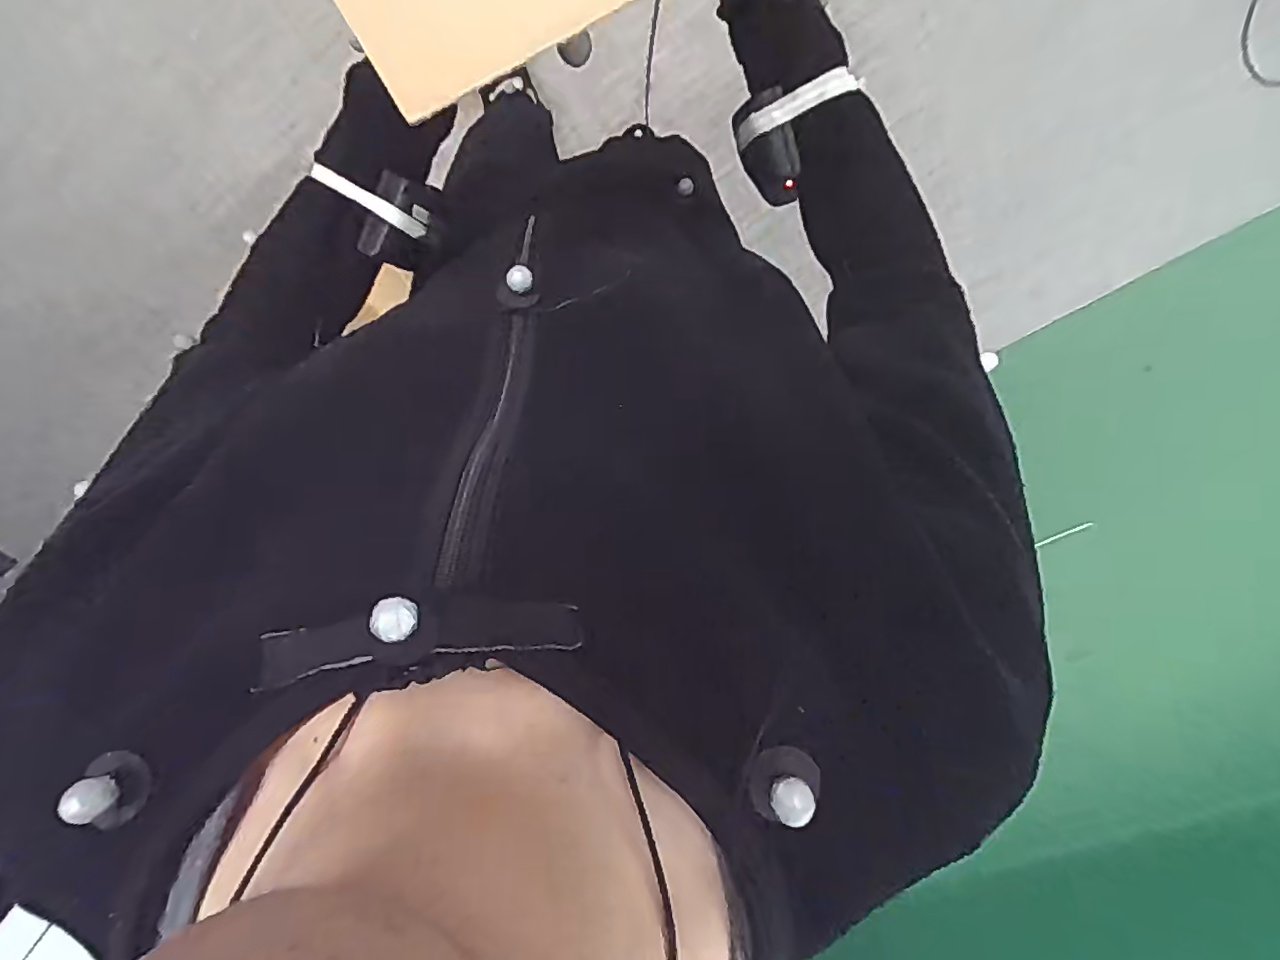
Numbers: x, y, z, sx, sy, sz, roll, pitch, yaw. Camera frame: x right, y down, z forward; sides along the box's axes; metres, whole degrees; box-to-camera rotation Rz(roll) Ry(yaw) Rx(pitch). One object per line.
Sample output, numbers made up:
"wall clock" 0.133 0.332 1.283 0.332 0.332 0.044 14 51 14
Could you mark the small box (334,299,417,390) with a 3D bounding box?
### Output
"small box" -0.680 -0.310 1.319 0.179 0.176 0.168 -27 122 16
